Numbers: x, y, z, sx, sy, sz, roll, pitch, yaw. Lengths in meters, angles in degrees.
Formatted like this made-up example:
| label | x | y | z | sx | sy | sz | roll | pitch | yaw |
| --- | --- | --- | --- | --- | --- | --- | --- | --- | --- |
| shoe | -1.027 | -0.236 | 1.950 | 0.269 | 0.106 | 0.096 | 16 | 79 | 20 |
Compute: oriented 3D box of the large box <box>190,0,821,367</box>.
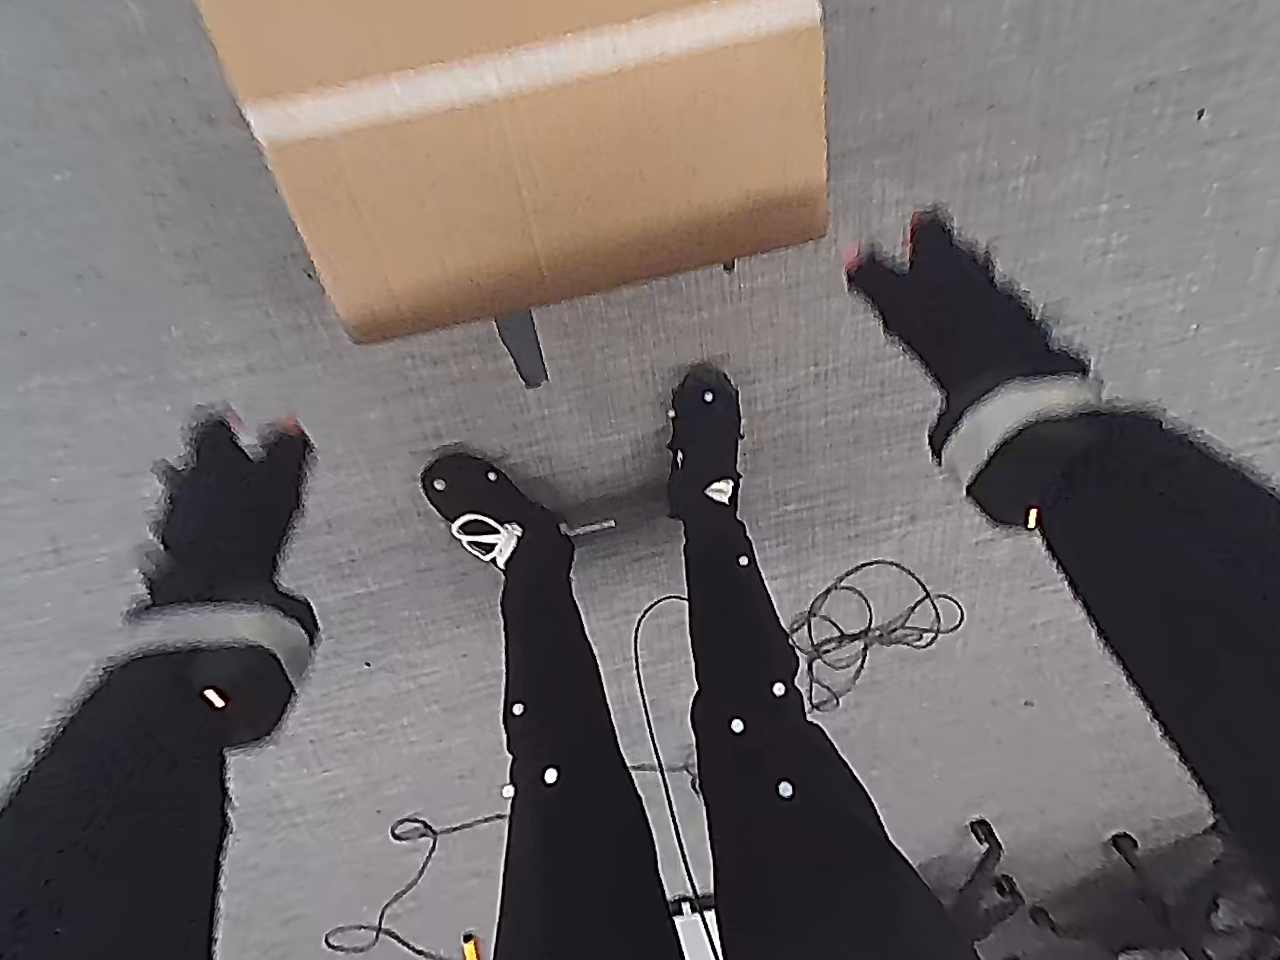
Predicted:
| label | x | y | z | sx | sy | sz | roll | pitch | yaw |
| --- | --- | --- | --- | --- | --- | --- | --- | --- | --- |
| large box | -0.090 | -0.340 | 0.511 | 0.408 | 0.320 | 0.320 | -14 | 117 | -2 |
